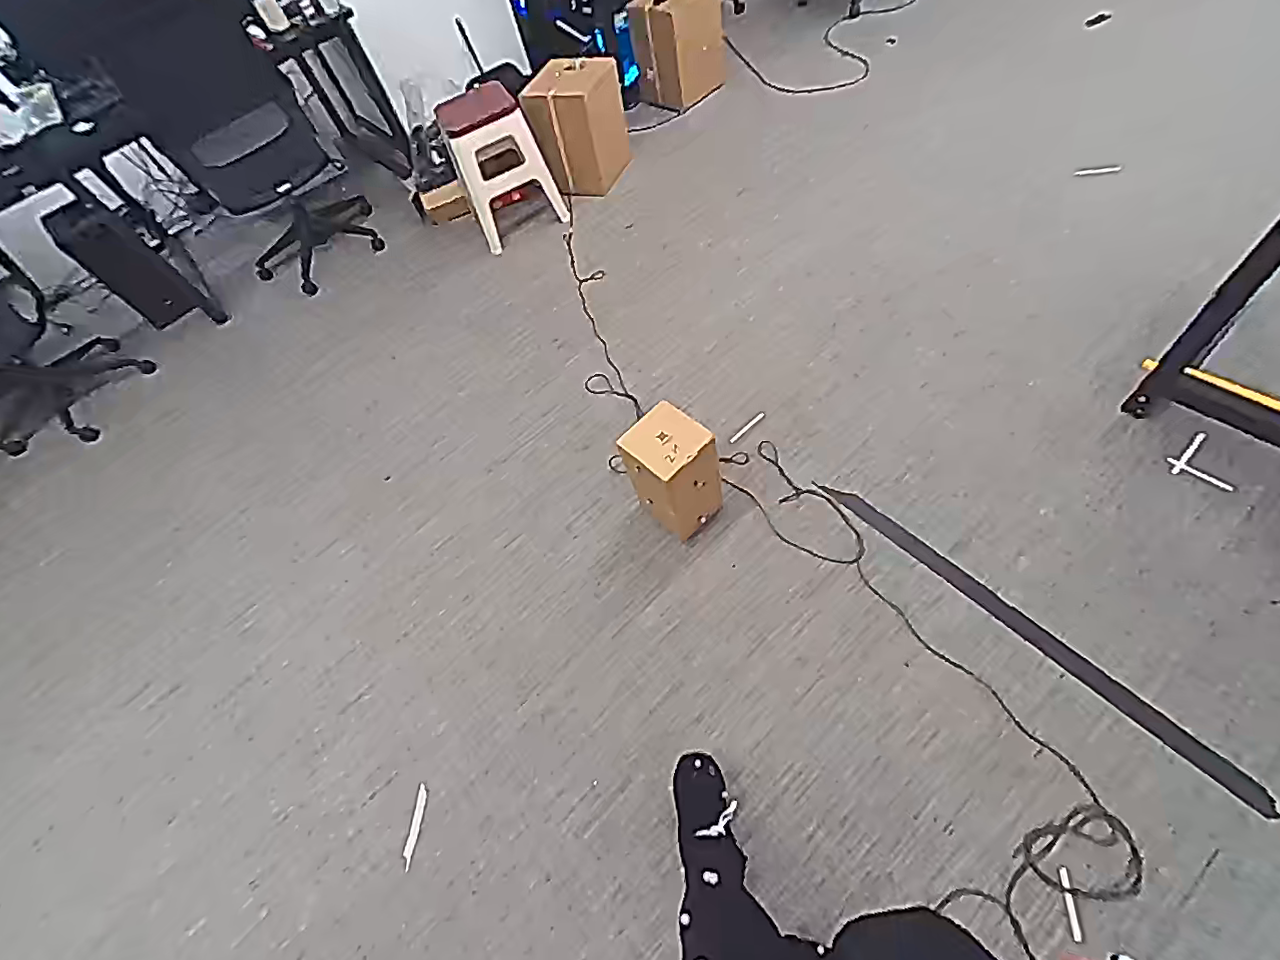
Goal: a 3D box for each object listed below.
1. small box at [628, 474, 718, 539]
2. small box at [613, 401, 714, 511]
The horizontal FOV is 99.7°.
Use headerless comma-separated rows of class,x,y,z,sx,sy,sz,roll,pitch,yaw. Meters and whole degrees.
small box,0.094,0.031,1.468,0.168,0.176,0.179,-41,60,-13
small box,0.064,-0.054,1.330,0.168,0.176,0.179,-43,60,-13
